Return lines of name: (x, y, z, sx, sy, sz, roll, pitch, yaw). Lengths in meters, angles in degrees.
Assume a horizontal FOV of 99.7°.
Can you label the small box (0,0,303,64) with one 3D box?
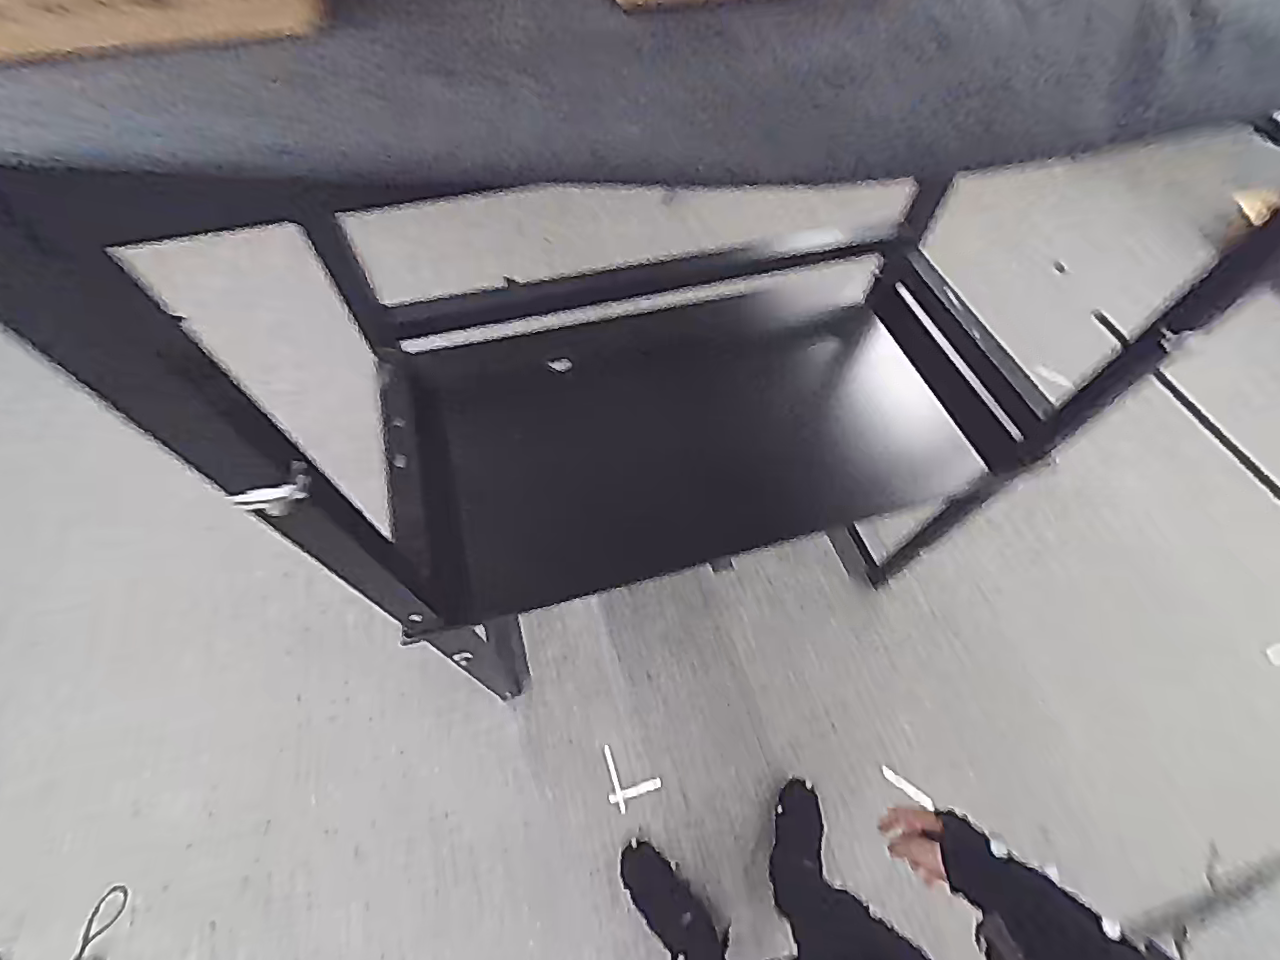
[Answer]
small box: (-0.253, -0.290, 0.201, 0.168, 0.176, 0.179, -17, 61, -11)
